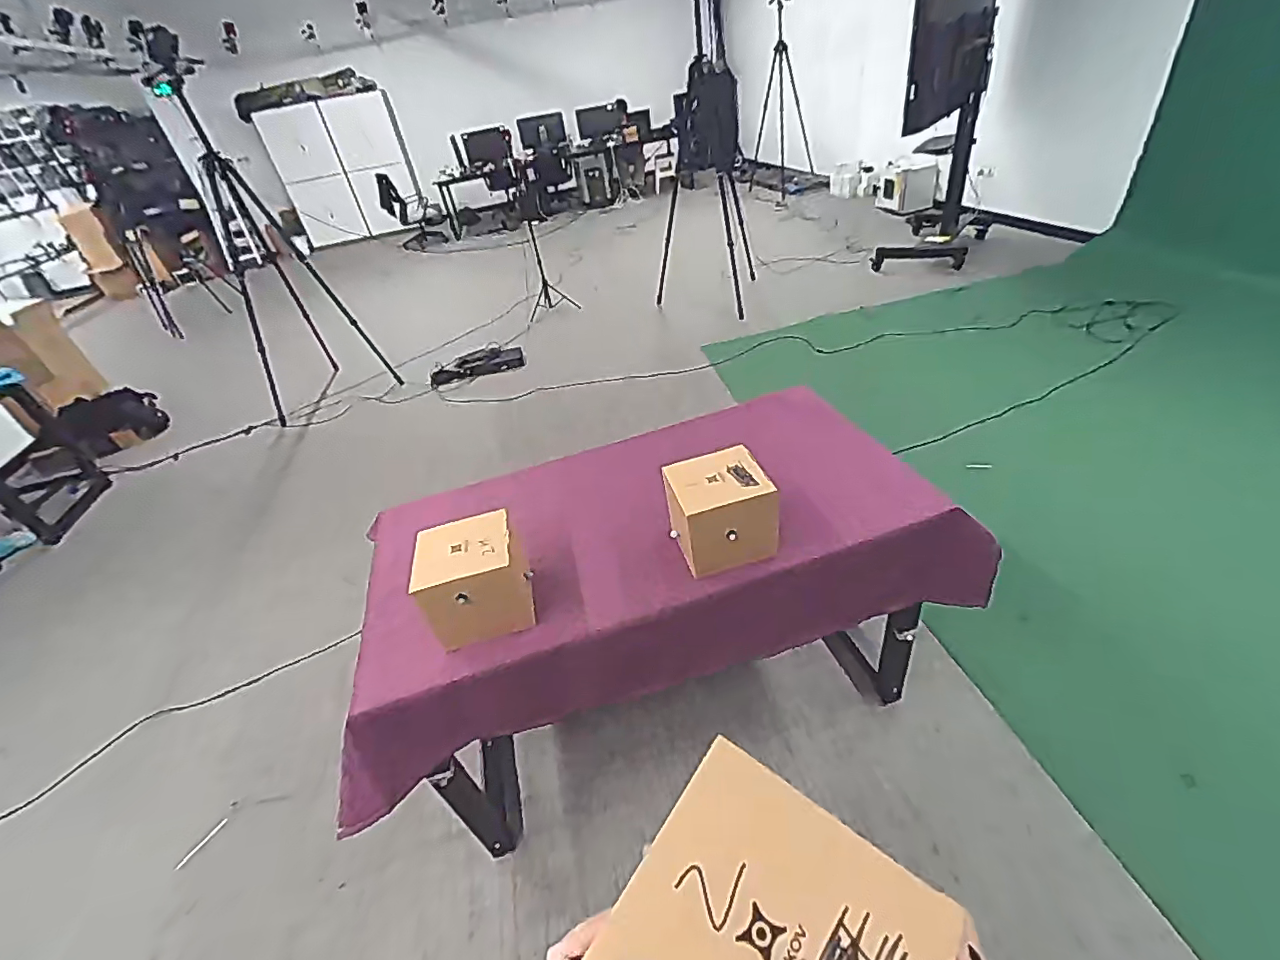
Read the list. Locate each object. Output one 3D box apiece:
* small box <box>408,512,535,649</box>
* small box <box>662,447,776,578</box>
[{"bbox_3d":[-0.311,0.193,1.025,0.179,0.176,0.168,-15,37,-5],"label":"small box"},{"bbox_3d":[0.155,0.064,1.072,0.179,0.176,0.168,-16,36,-5],"label":"small box"}]
